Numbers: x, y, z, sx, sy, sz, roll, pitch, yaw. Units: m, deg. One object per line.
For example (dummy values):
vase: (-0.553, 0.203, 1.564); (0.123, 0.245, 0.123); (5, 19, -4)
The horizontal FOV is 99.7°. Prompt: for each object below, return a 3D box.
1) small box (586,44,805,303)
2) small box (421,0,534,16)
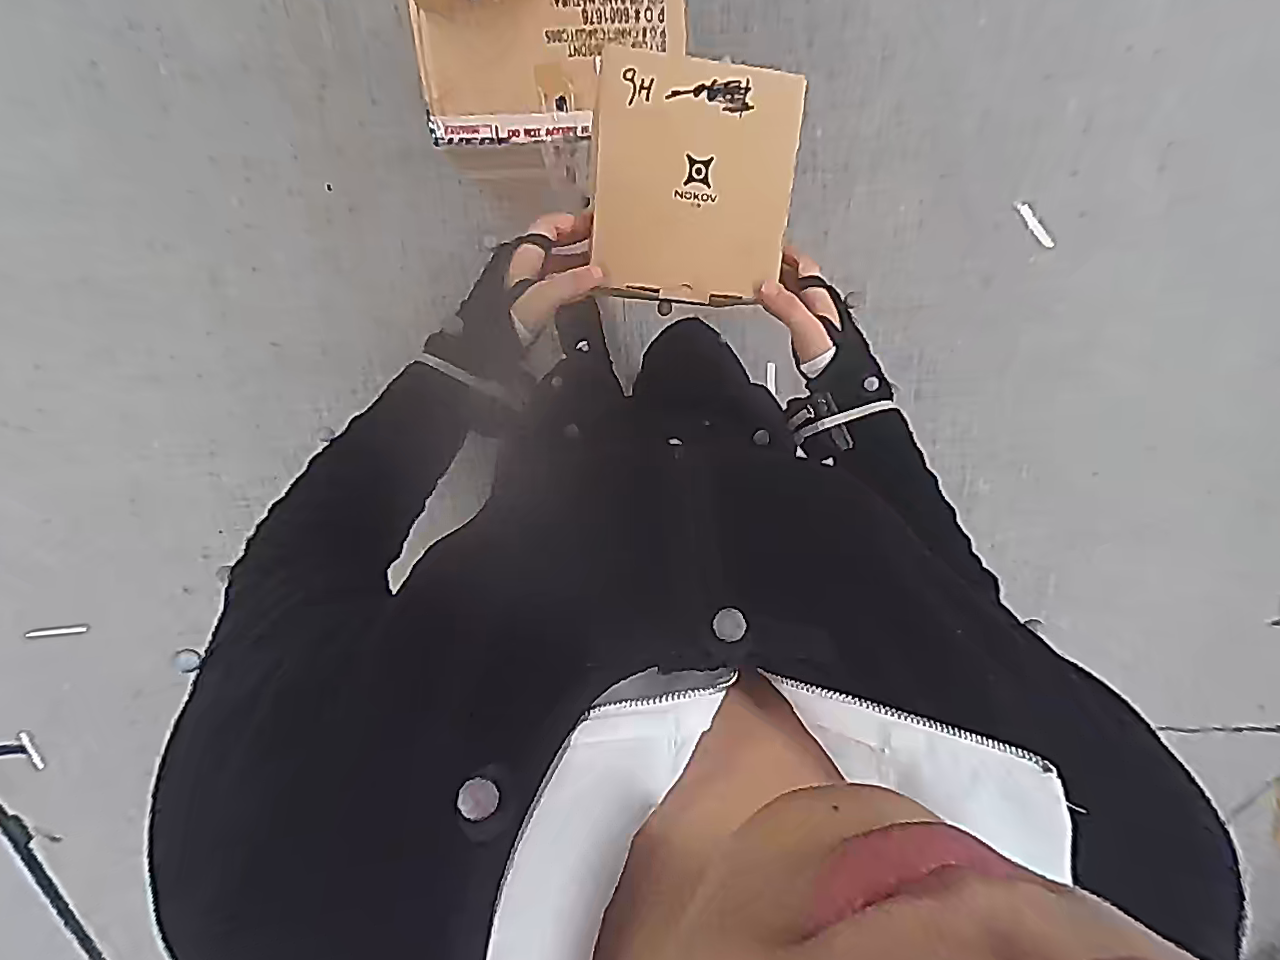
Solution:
small box: (0.035, -0.267, 0.520); (0.168, 0.176, 0.179); (2, 106, -8)
small box: (-0.223, -0.701, 0.641); (0.168, 0.176, 0.179); (-8, 112, -1)
